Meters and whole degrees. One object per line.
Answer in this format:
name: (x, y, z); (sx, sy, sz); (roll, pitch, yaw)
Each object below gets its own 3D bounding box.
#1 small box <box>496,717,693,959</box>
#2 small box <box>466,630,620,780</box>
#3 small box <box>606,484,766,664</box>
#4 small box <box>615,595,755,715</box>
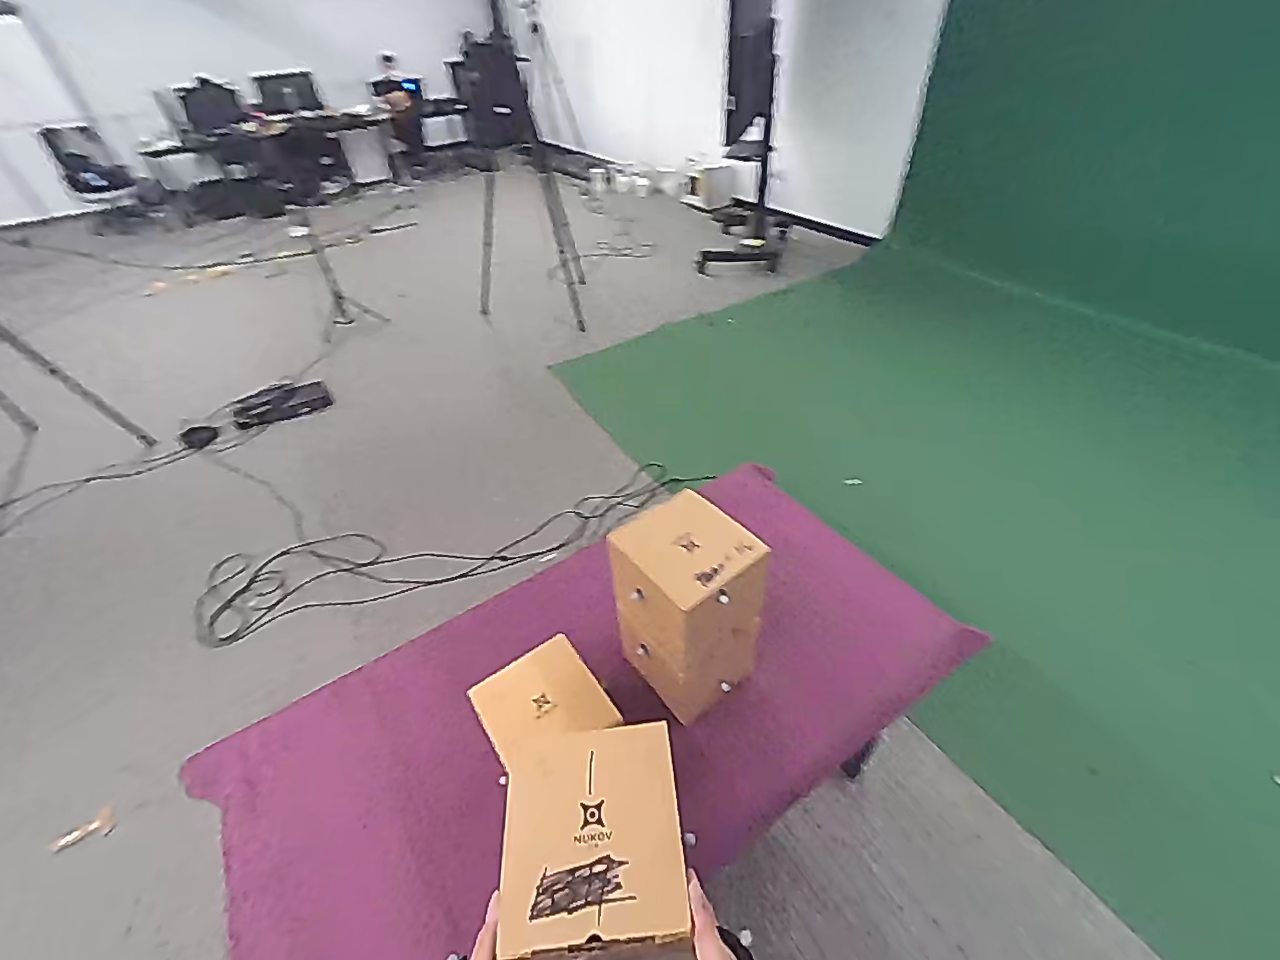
small box: (-0.037, 0.370, 0.554); (0.168, 0.176, 0.179); (-6, 43, 0)
small box: (-0.142, 0.376, 0.834); (0.168, 0.176, 0.179); (-28, 48, -25)
small box: (0.067, 0.142, 0.830); (0.168, 0.176, 0.179); (-30, 47, -26)
small box: (0.074, 0.266, 0.939); (0.168, 0.176, 0.179); (-29, 48, -25)
